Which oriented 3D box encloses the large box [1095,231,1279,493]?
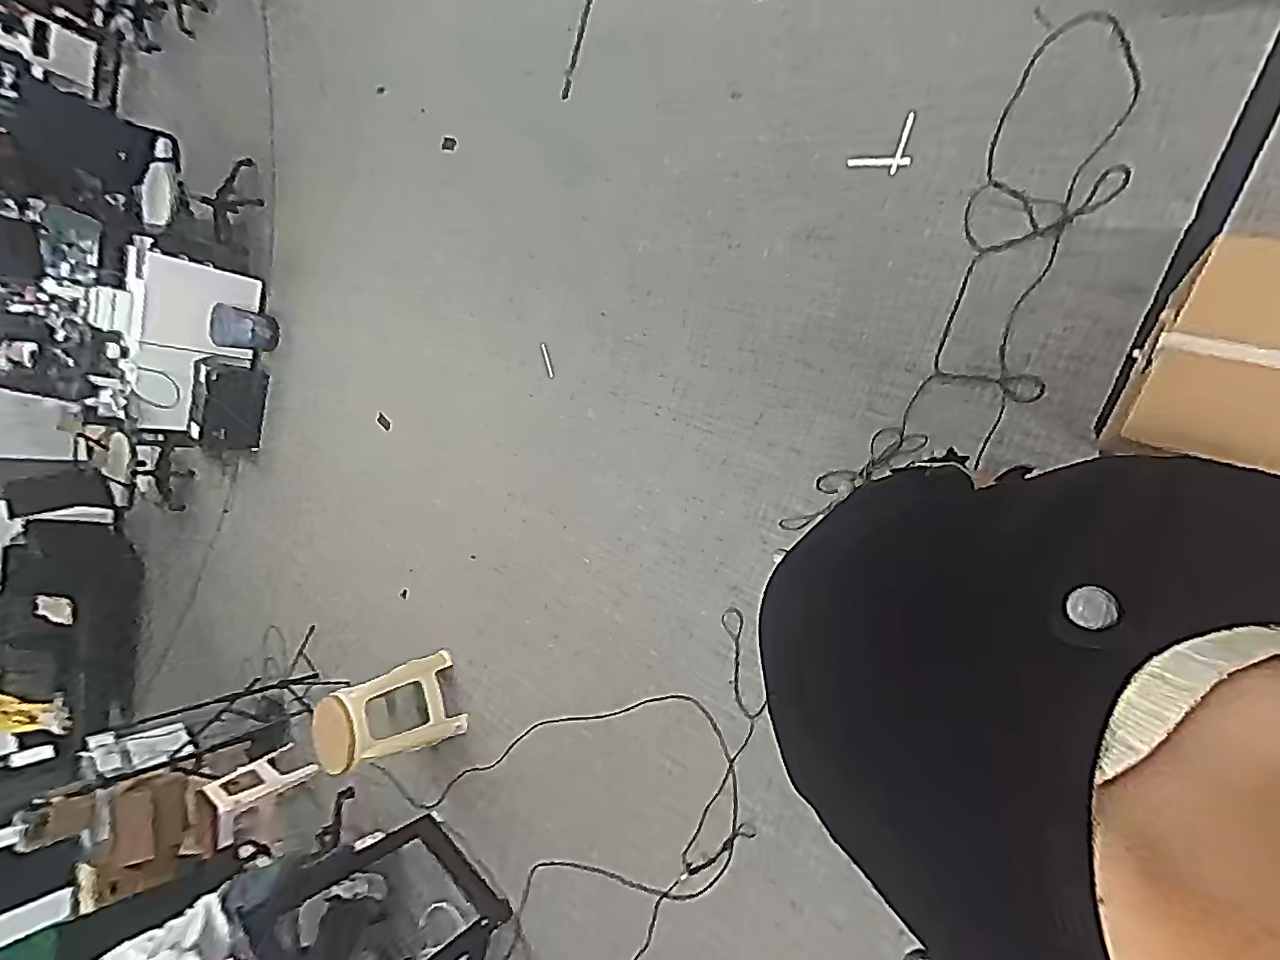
[{"bbox_3d":[1.016,-0.145,0.823,0.408,0.320,0.320,25,104,32],"label":"large box"}]
